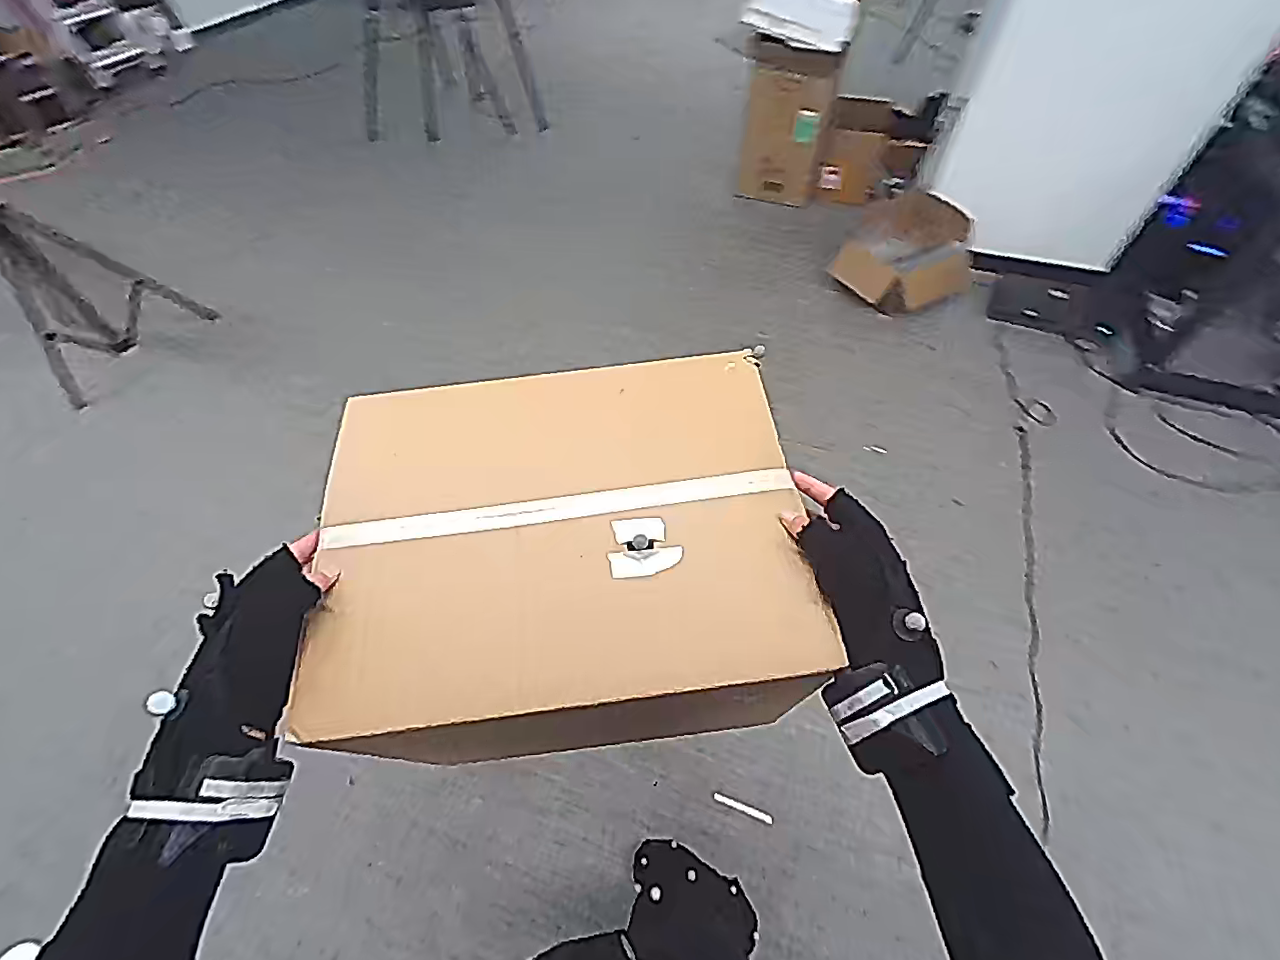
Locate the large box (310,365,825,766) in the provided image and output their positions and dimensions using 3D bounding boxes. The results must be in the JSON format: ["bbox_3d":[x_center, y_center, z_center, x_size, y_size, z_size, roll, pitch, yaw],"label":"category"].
[{"bbox_3d":[-0.069,0.111,0.611,0.408,0.320,0.320,-8,60,-3],"label":"large box"}]
